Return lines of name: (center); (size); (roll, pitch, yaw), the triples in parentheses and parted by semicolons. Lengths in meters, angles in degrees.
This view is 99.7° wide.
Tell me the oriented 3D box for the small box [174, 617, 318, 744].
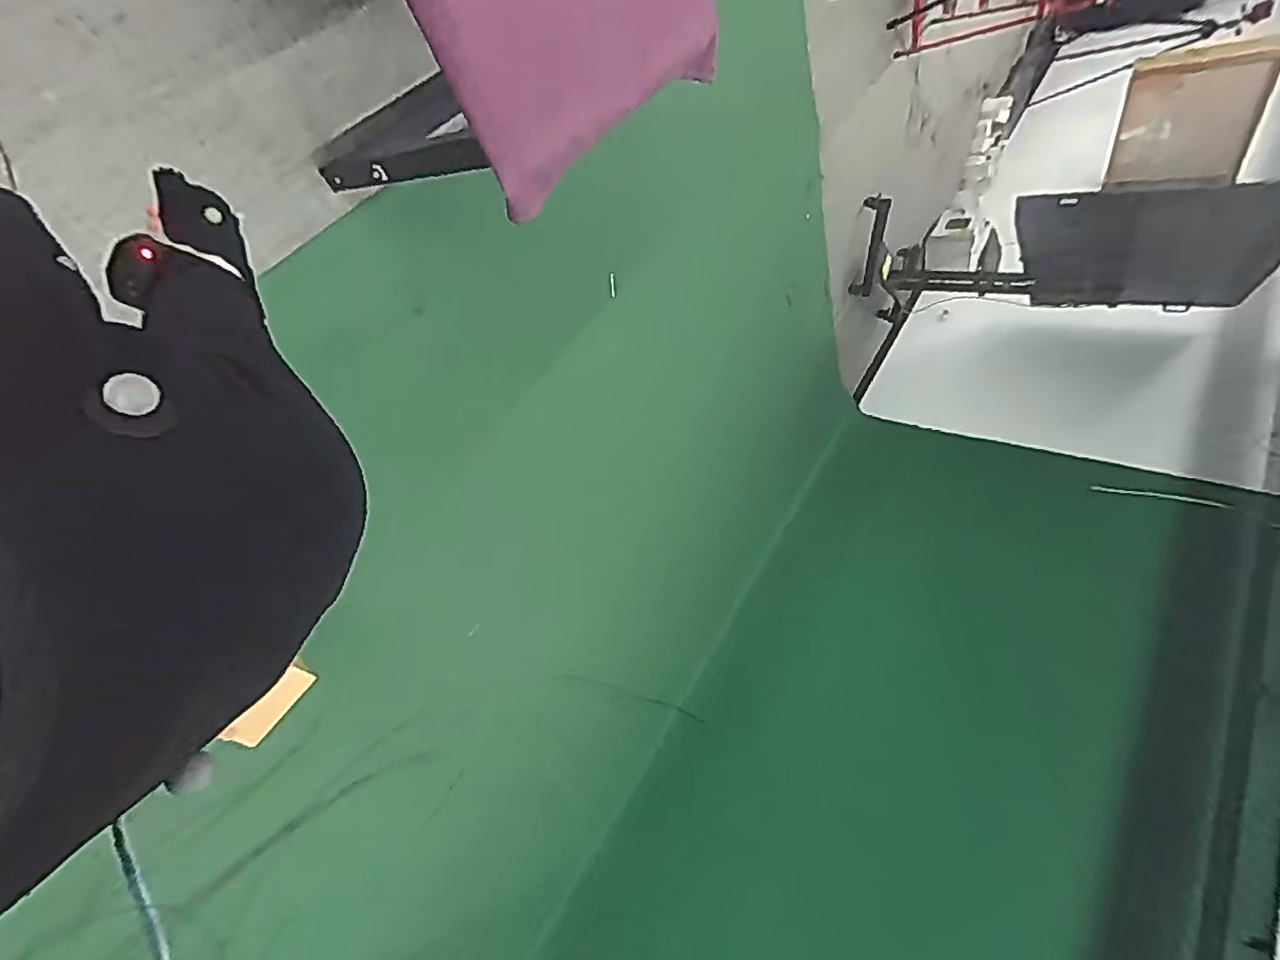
small box: (-0.864, 0.432, 1.184); (0.179, 0.176, 0.168); (-52, 139, -22)
